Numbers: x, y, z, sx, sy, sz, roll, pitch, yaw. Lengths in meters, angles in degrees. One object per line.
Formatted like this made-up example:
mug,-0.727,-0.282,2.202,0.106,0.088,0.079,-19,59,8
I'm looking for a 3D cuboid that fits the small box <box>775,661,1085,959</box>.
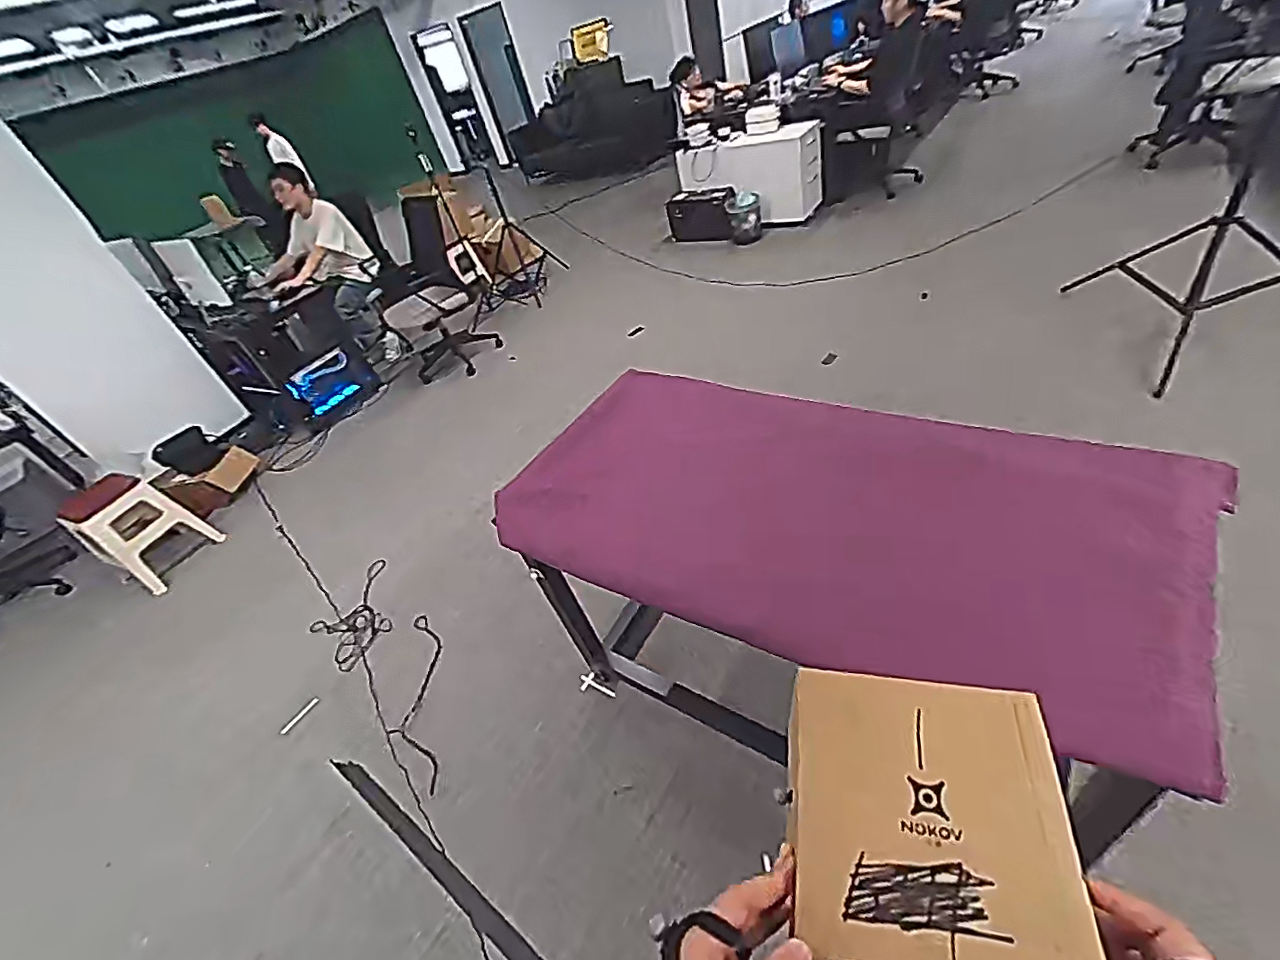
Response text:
small box,0.193,0.264,0.416,0.168,0.176,0.179,2,50,14
